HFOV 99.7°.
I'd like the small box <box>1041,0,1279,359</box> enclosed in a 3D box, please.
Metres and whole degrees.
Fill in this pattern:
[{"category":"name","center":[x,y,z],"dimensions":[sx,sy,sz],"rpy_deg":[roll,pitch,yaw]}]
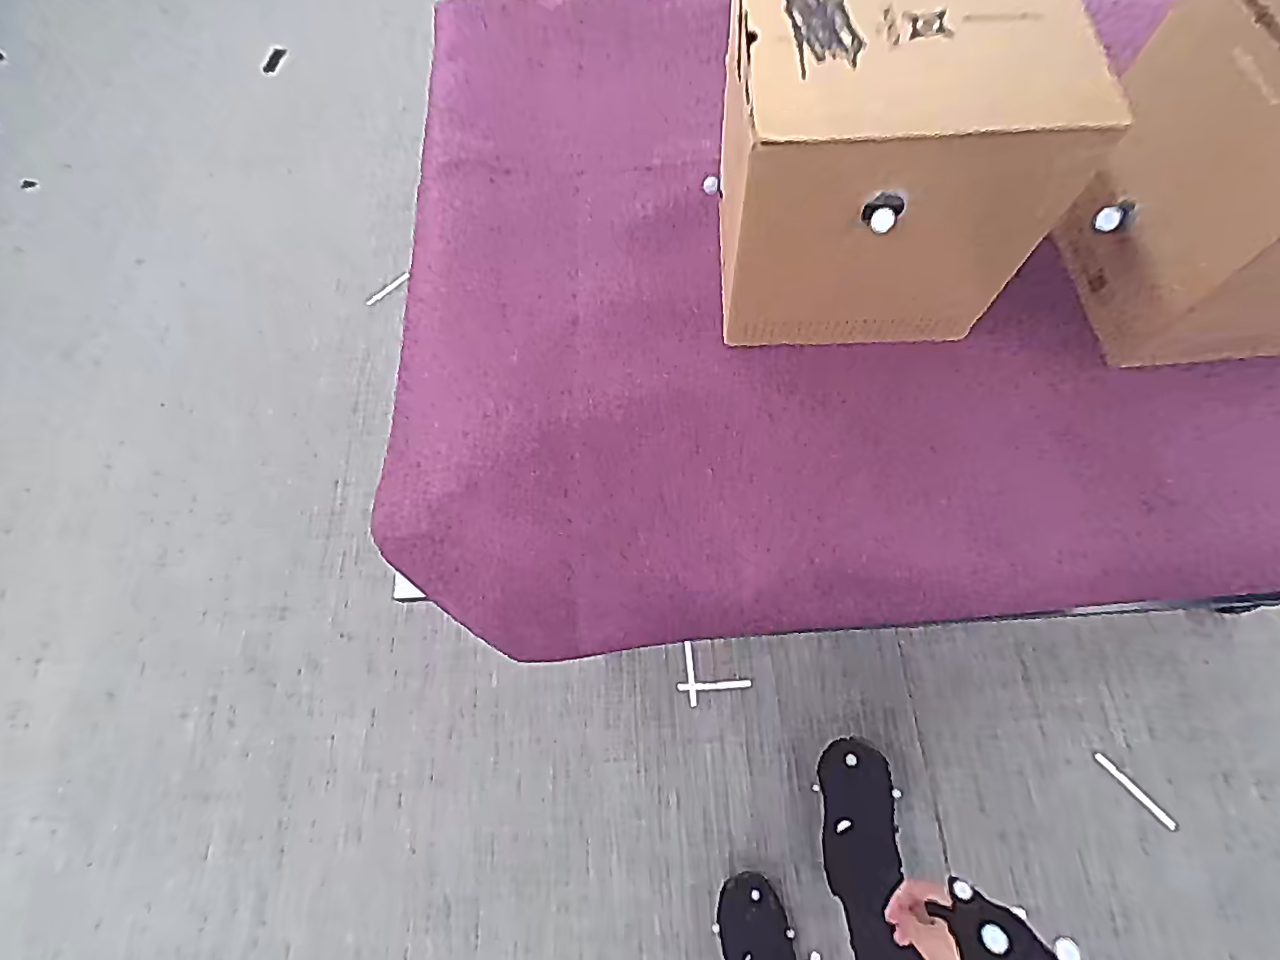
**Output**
[{"category":"small box","center":[0.406,-0.193,0.334],"dimensions":[0.179,0.176,0.168],"rpy_deg":[-4,67,4]}]

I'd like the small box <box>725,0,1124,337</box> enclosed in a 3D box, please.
[{"category":"small box","center":[0.149,-0.211,0.363],"dimensions":[0.179,0.176,0.168],"rpy_deg":[0,68,3]}]
